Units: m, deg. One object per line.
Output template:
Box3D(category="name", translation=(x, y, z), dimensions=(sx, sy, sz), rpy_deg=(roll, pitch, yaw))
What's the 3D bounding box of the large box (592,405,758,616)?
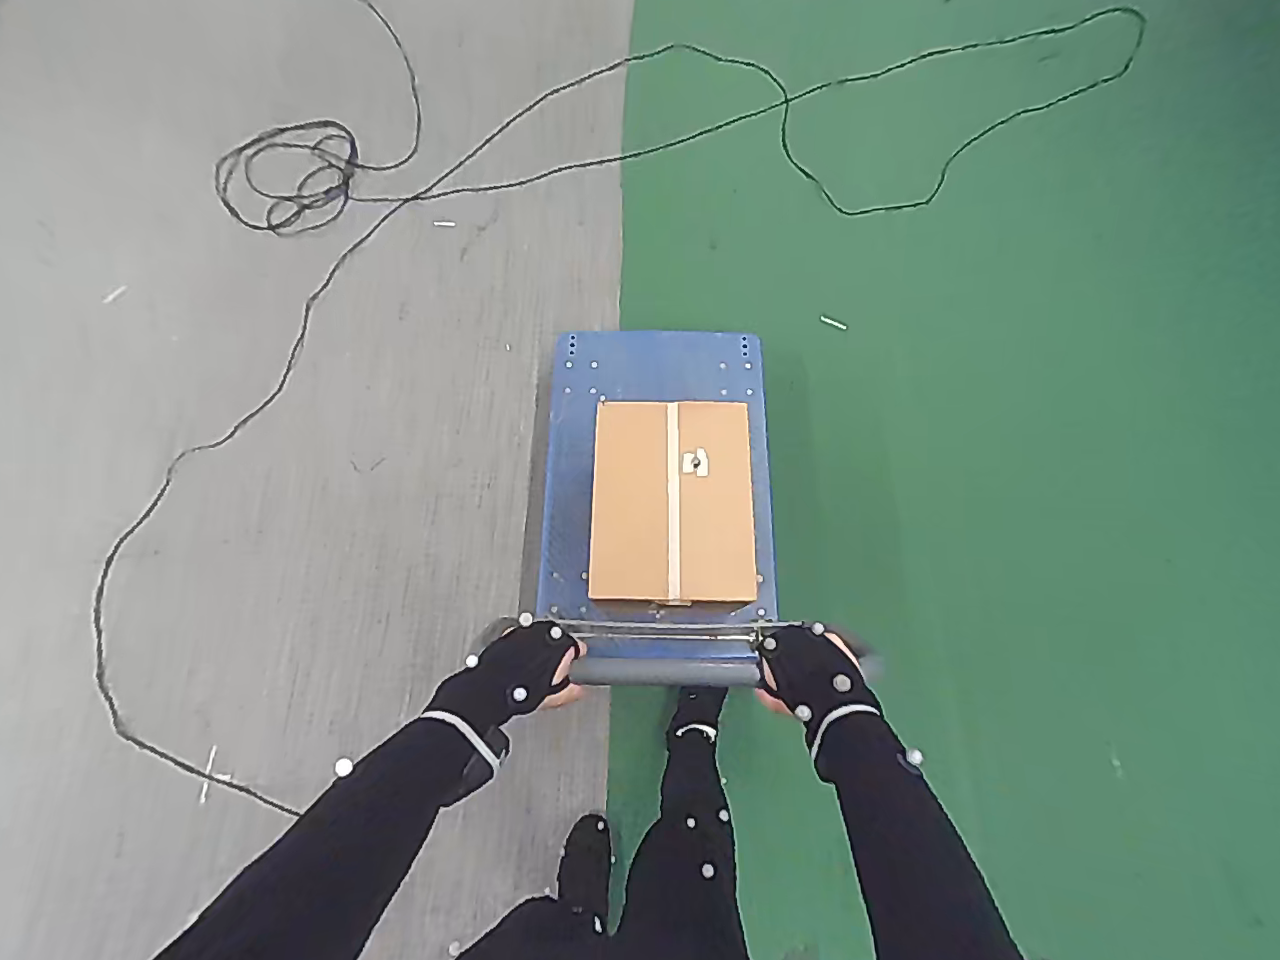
Box3D(category="large box", translation=(0.066, 0.083, 1.202), dimensions=(0.320, 0.320, 0.408), rpy_deg=(0, 70, 0))
